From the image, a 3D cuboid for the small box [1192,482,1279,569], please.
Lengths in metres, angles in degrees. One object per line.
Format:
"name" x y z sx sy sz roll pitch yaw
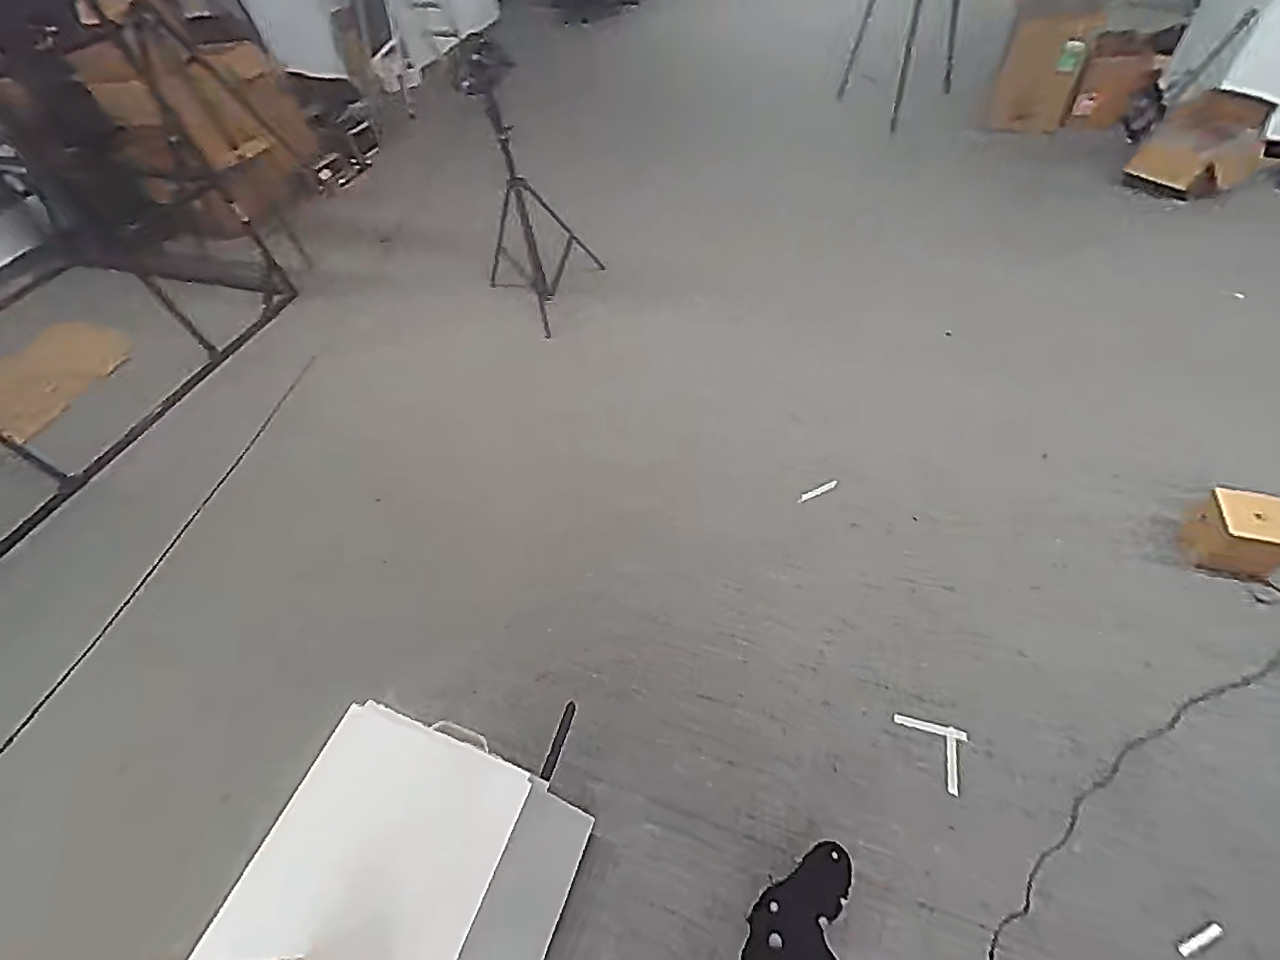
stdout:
"small box" 1.716 0.132 1.519 0.179 0.176 0.168 11 56 16
